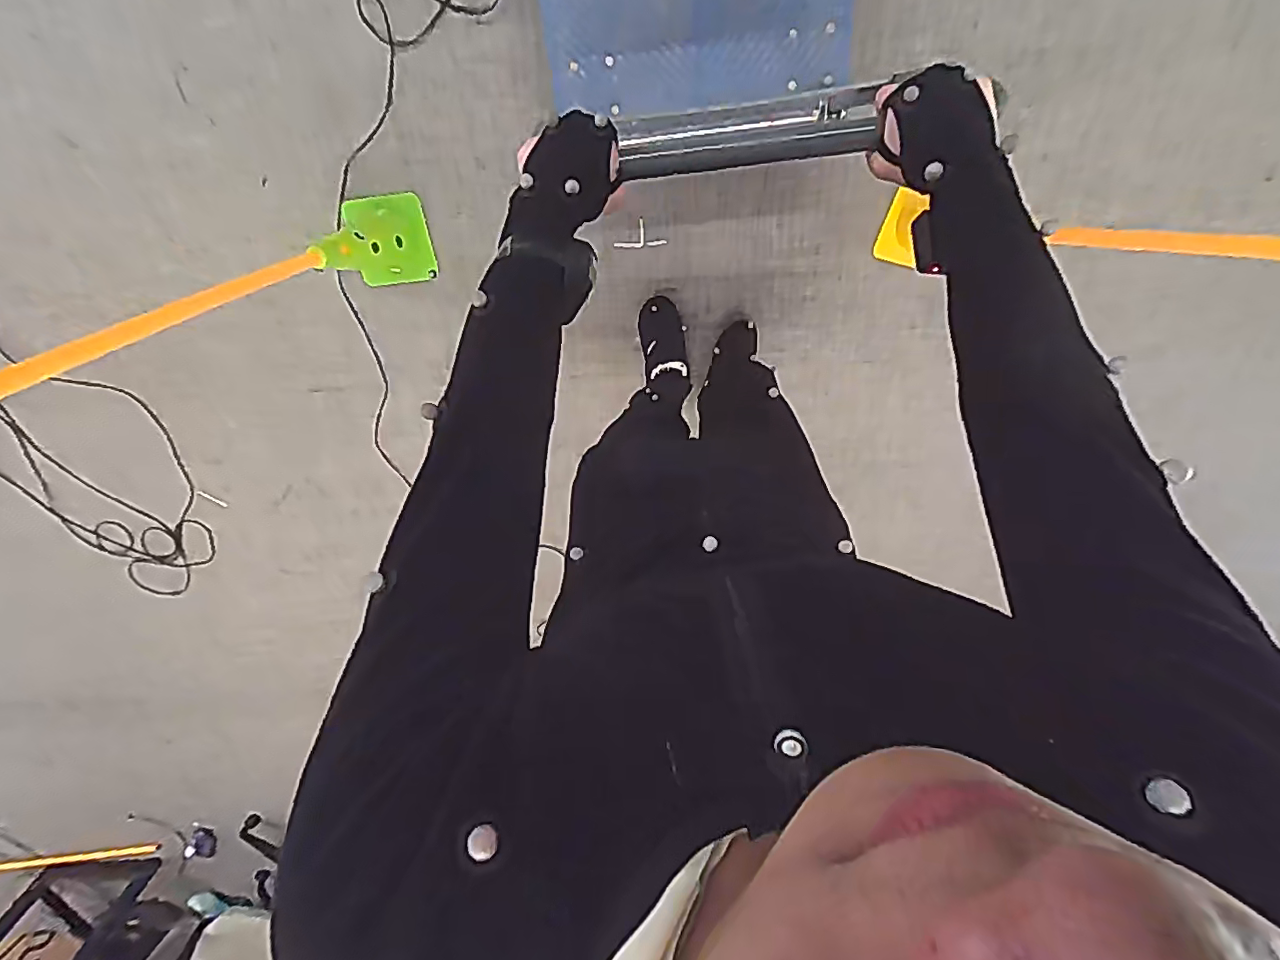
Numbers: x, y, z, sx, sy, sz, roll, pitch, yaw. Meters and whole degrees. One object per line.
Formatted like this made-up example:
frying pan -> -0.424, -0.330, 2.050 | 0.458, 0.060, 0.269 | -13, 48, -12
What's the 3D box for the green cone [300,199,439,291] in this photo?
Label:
green cone -> -0.631, -0.510, 1.211 | 0.202, 0.368, 0.200 | -5, 117, 6
